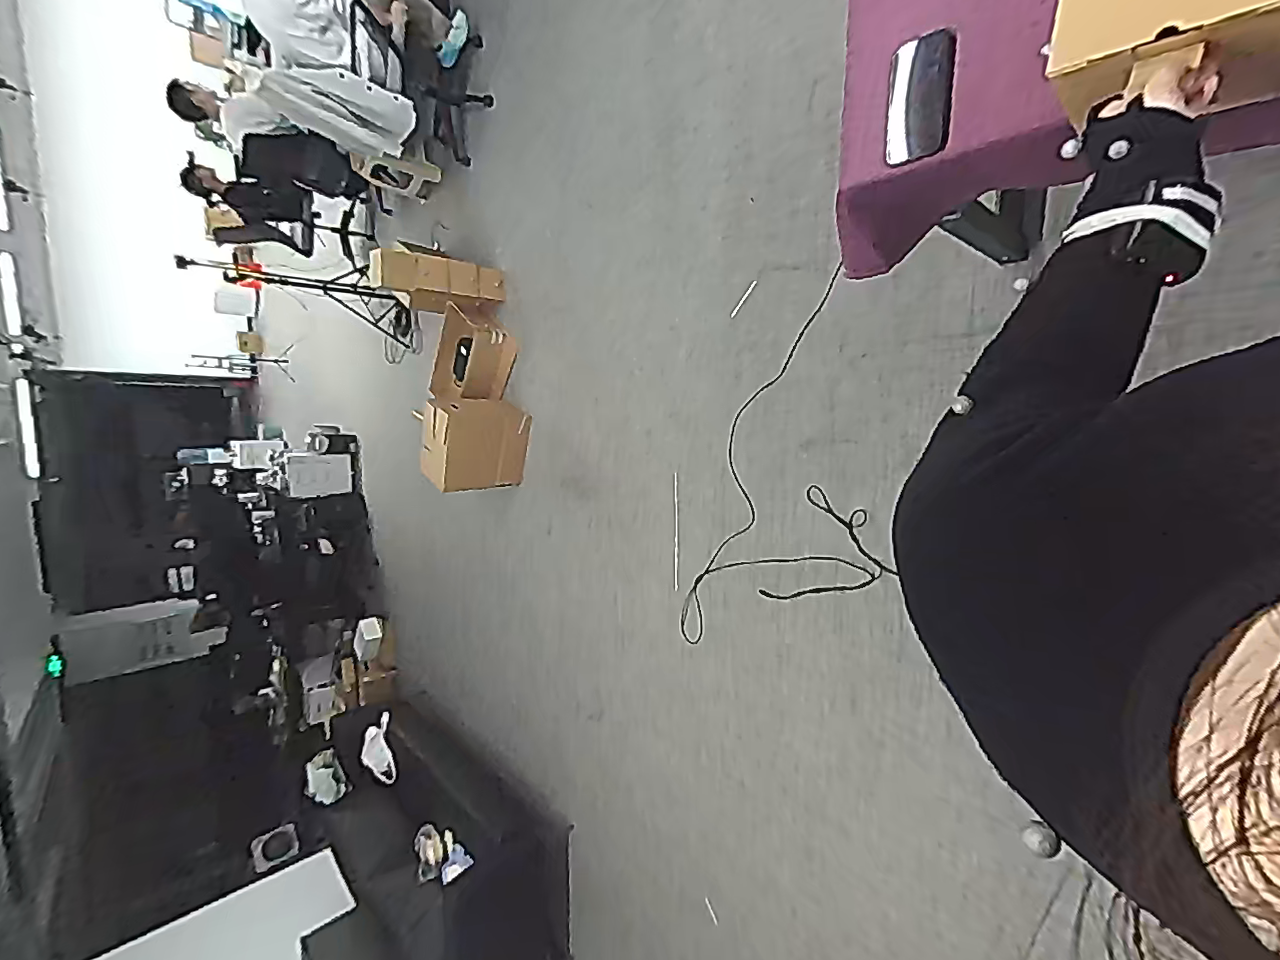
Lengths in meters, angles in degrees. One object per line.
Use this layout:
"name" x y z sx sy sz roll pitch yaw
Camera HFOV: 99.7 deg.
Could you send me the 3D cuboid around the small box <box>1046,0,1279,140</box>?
"small box" 0.500 -0.451 0.491 0.168 0.176 0.179 14 104 45
